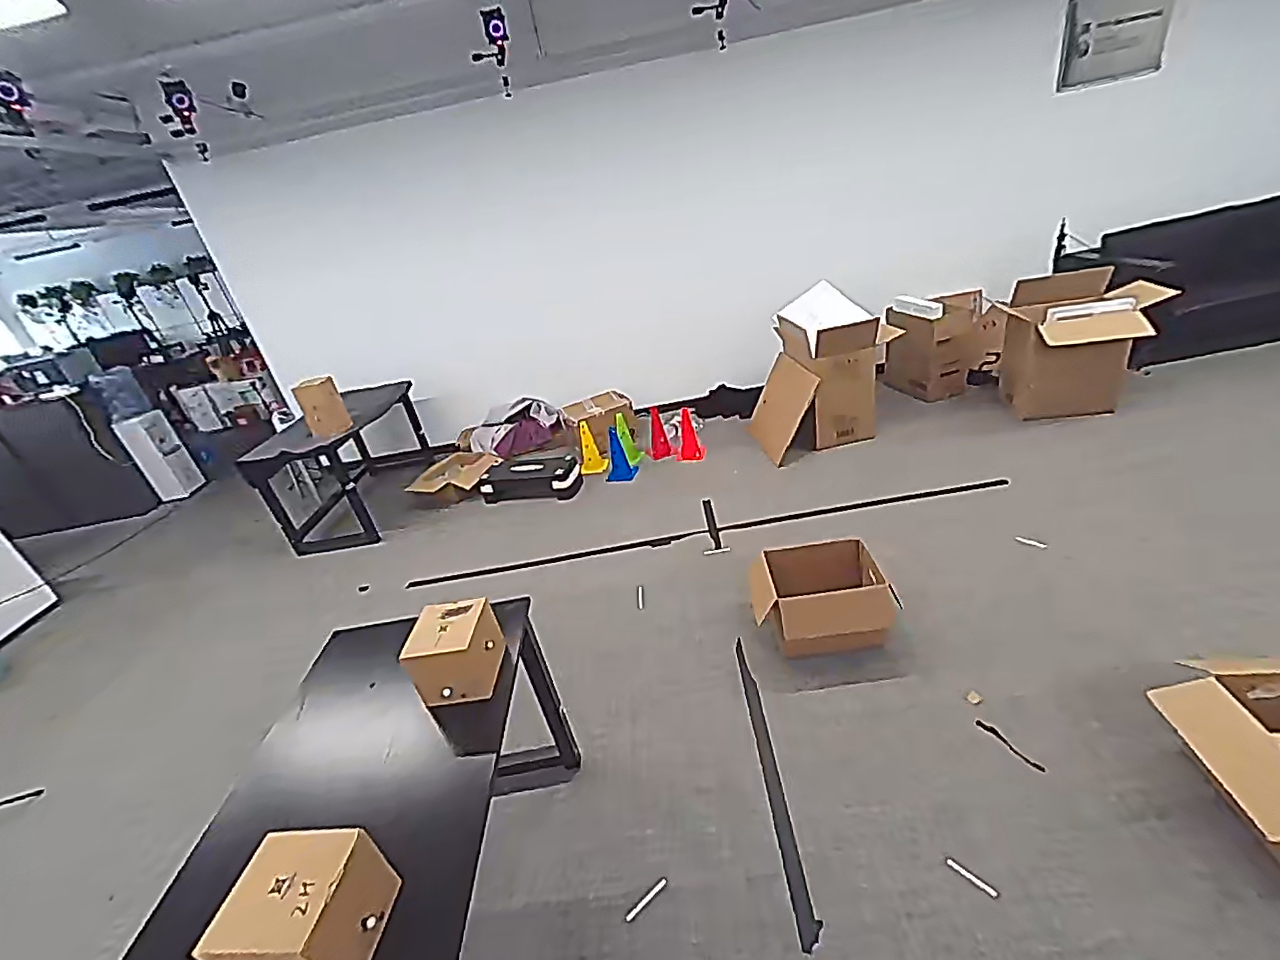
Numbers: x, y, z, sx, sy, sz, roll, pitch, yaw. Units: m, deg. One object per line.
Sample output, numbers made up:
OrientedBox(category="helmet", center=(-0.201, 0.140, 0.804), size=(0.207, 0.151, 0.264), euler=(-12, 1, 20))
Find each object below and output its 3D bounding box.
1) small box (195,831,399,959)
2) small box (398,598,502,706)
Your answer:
OrientedBox(category="small box", center=(-0.520, 0.685, 0.848), size=(0.179, 0.176, 0.168), euler=(-8, 28, 8))
OrientedBox(category="small box", center=(-0.449, 0.417, 1.315), size=(0.168, 0.176, 0.179), euler=(-10, 29, 5))
